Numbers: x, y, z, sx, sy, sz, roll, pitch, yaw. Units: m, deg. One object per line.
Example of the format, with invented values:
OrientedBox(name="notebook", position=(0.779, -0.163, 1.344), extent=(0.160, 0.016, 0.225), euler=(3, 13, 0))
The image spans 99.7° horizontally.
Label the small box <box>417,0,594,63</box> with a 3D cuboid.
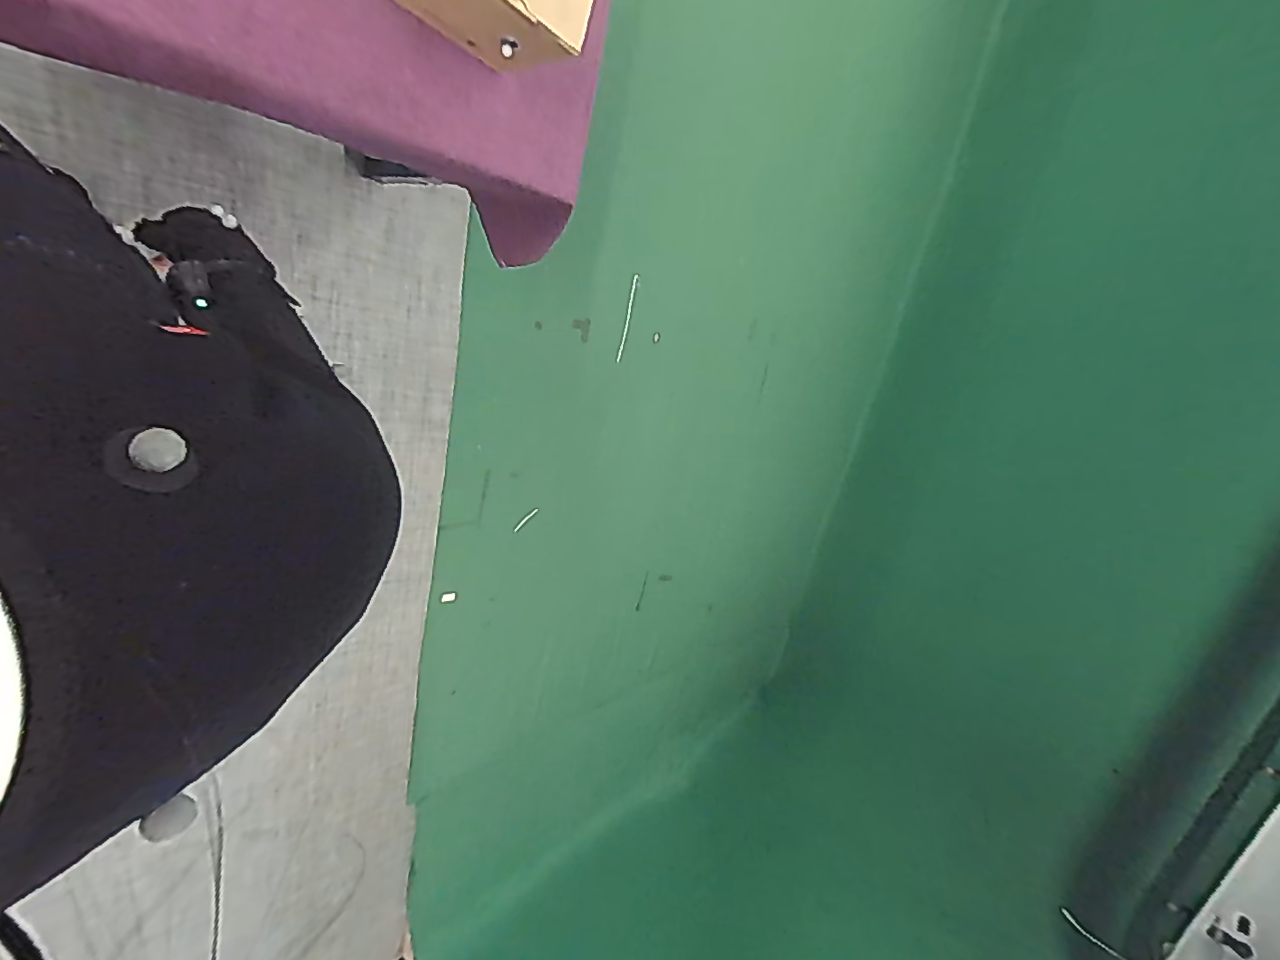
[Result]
OrientedBox(name="small box", position=(-0.151, -0.588, 0.575), extent=(0.168, 0.176, 0.179), euler=(3, 108, -49))
